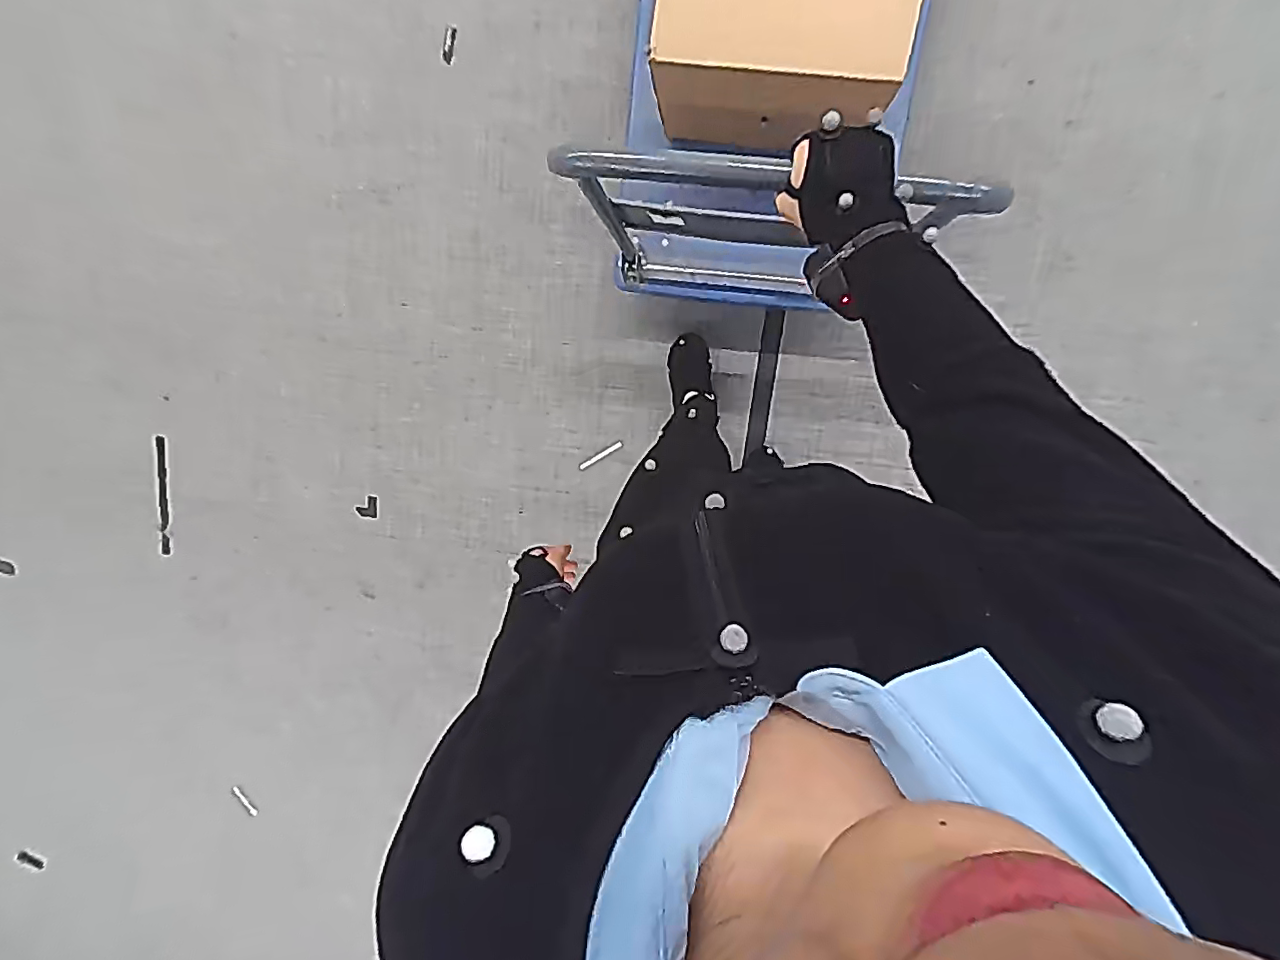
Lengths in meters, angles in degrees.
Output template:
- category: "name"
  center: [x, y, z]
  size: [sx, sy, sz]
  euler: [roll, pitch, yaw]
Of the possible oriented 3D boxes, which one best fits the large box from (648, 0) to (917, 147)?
- category: "large box"
  center: [0.251, -0.824, 0.957]
  size: [0.408, 0.320, 0.320]
  euler: [10, 102, 8]
